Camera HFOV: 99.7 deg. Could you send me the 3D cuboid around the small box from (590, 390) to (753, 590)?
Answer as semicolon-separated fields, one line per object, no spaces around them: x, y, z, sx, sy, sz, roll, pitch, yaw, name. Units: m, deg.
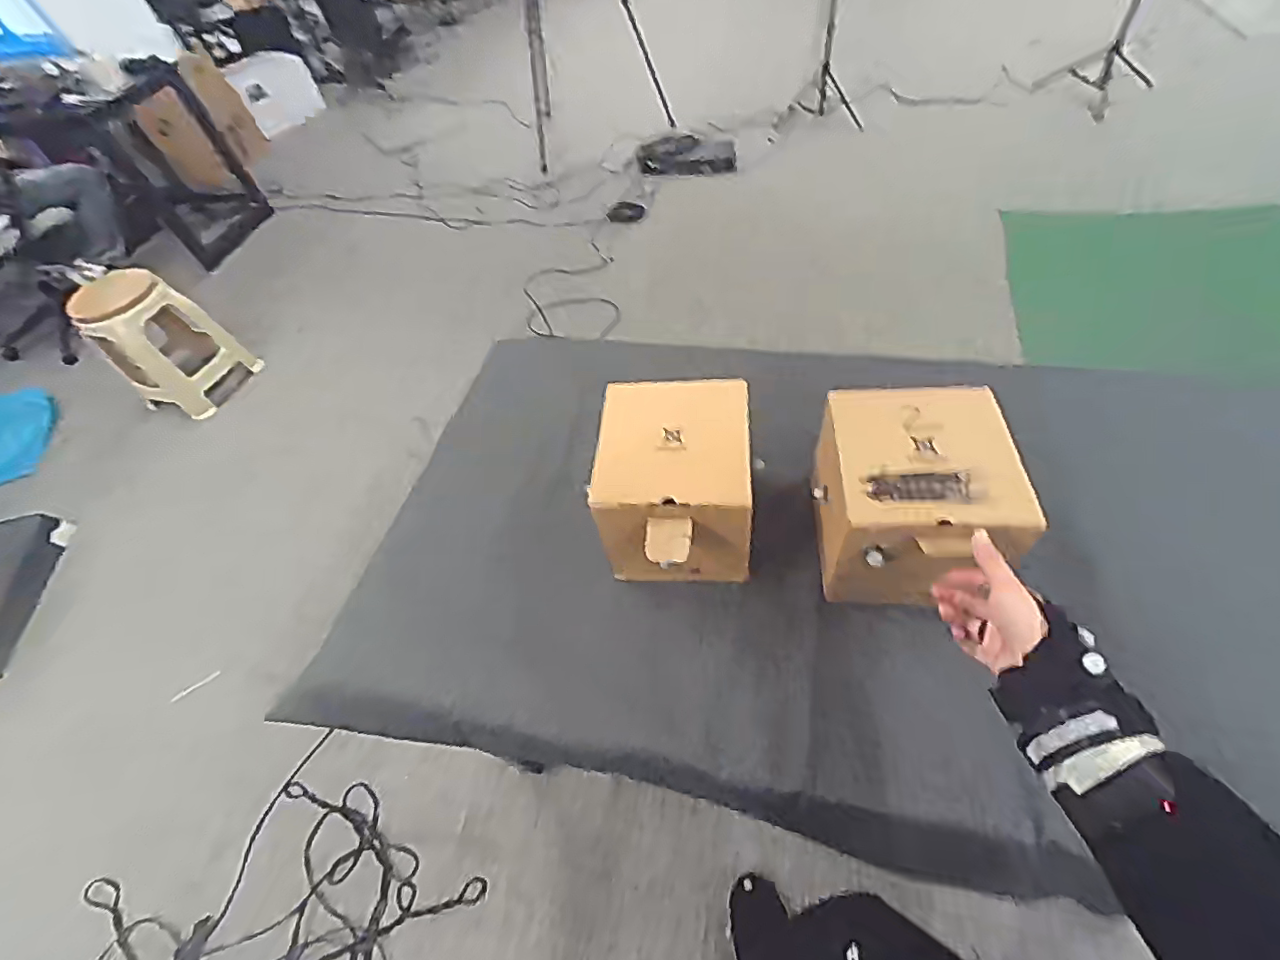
0.046;0.013;0.647;0.168;0.176;0.179;-1;53;9;small box
